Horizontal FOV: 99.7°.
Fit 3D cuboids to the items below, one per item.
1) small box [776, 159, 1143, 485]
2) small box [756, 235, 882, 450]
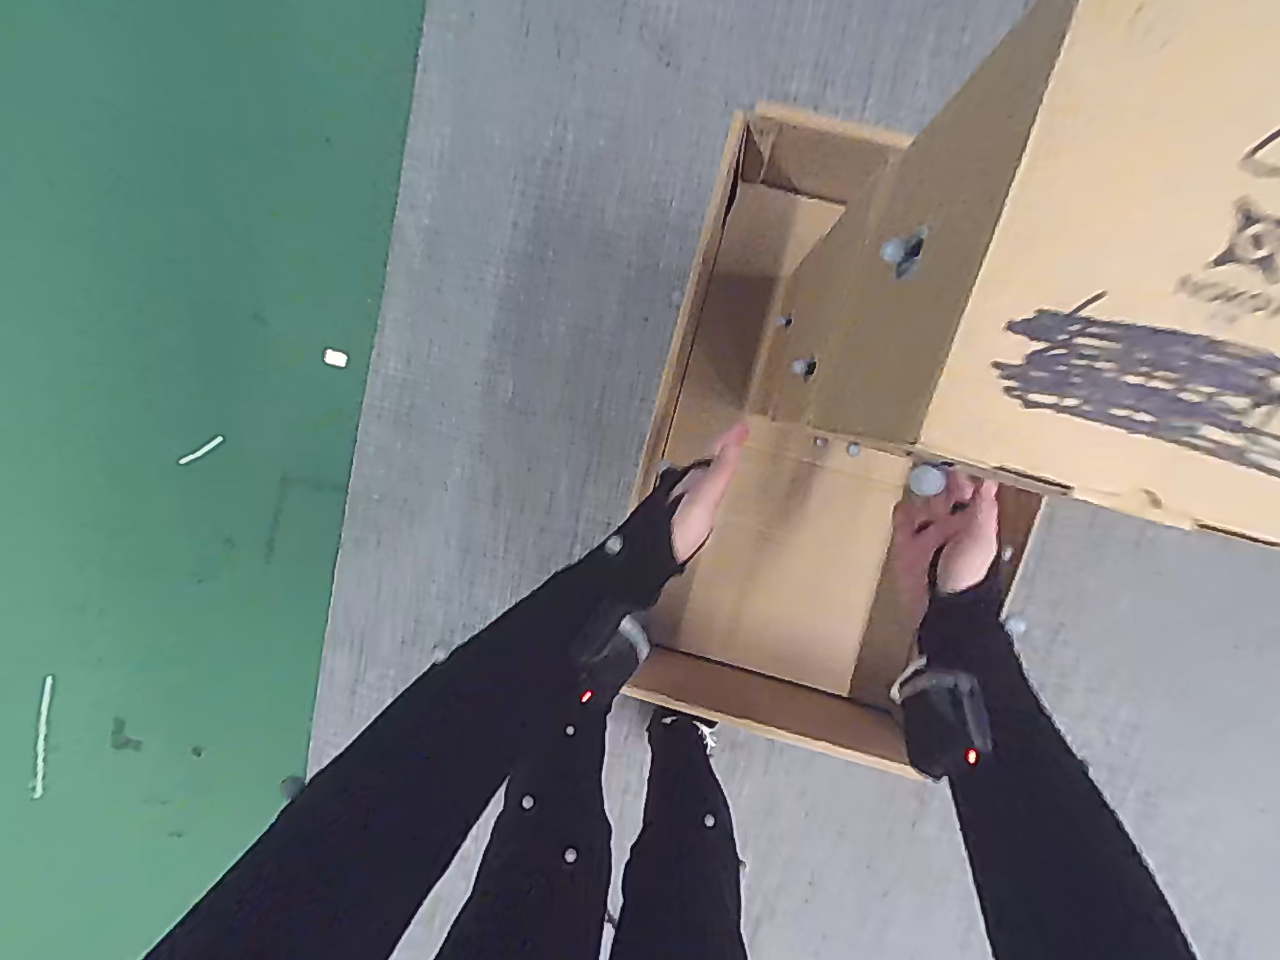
[{"bbox_3d":[0.218,-0.110,0.428,0.168,0.176,0.179,15,99,2],"label":"small box"},{"bbox_3d":[0.233,-0.134,0.588,0.168,0.176,0.179,16,99,3],"label":"small box"}]
